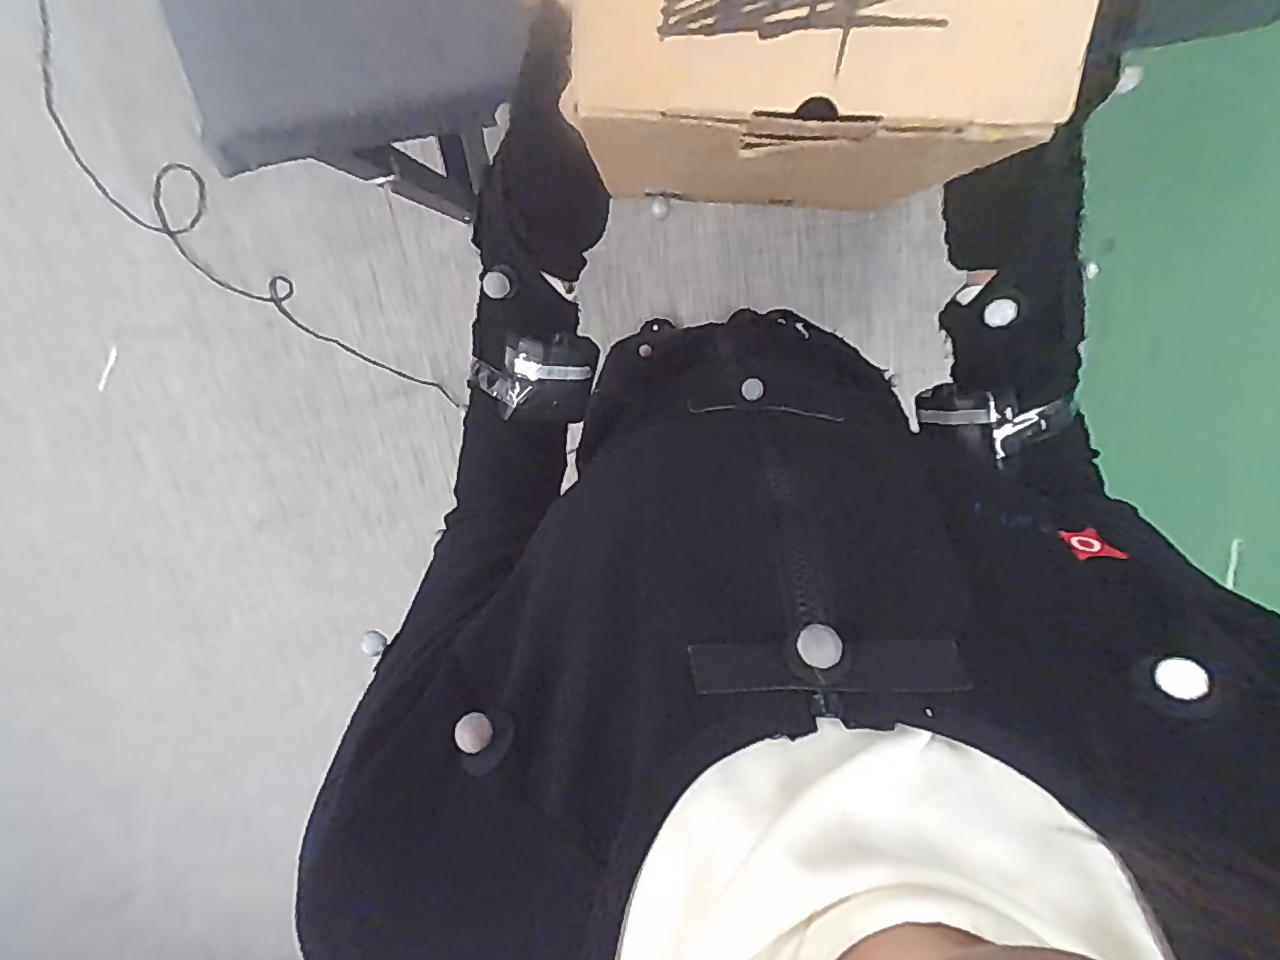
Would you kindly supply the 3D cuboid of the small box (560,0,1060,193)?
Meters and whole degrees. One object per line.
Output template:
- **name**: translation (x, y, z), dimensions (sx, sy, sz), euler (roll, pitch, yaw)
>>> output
- **small box**: translation (0.061, -0.237, 0.236), dimensions (0.168, 0.176, 0.179), euler (3, 108, 0)
